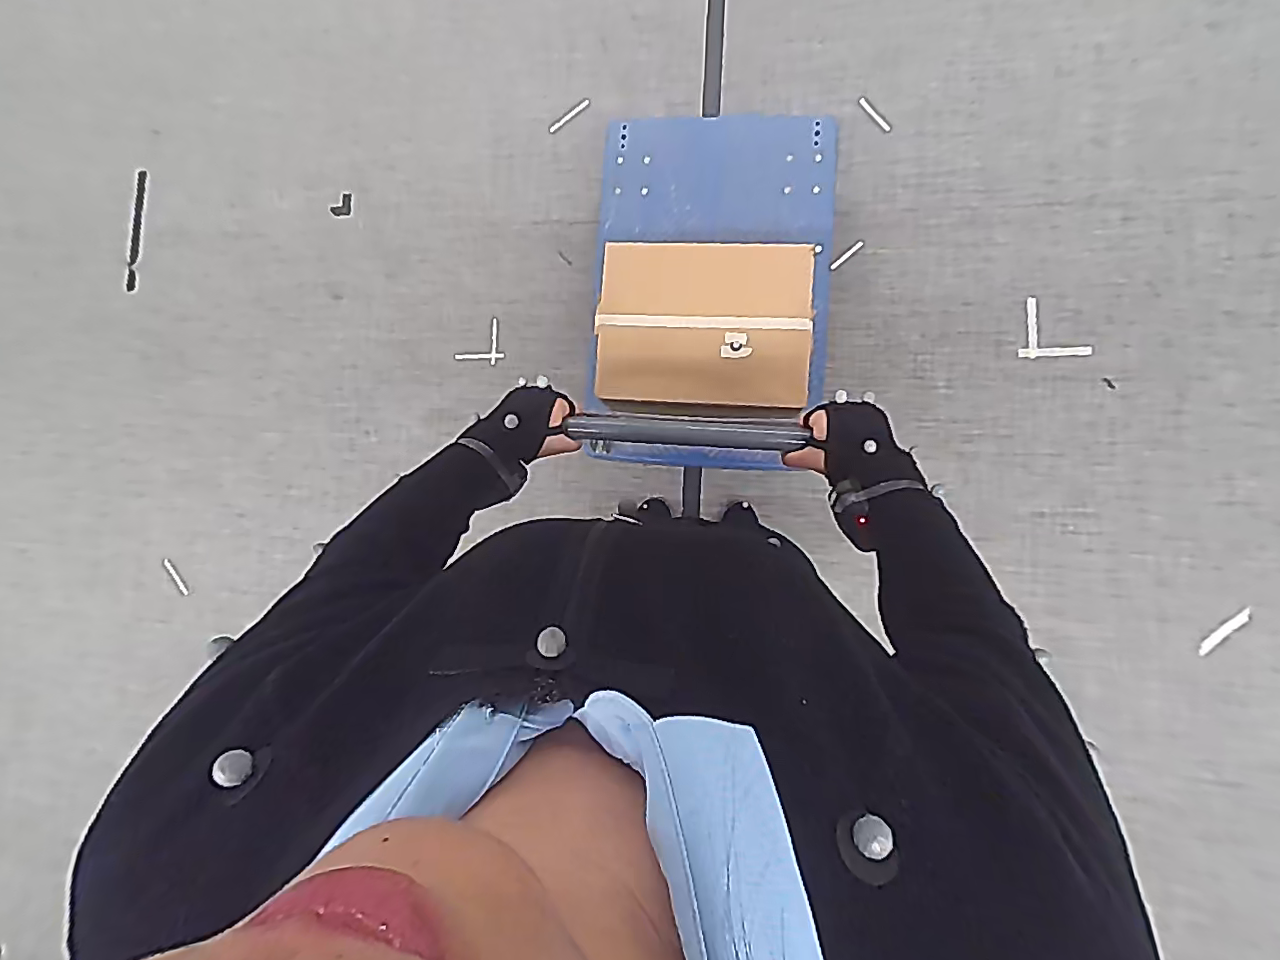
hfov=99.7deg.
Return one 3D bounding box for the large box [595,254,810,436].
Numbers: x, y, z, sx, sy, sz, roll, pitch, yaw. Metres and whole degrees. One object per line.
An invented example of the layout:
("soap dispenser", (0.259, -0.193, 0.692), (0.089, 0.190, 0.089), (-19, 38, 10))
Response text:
("large box", (0.131, -0.274, 1.182), (0.408, 0.320, 0.320), (3, 88, 7))
